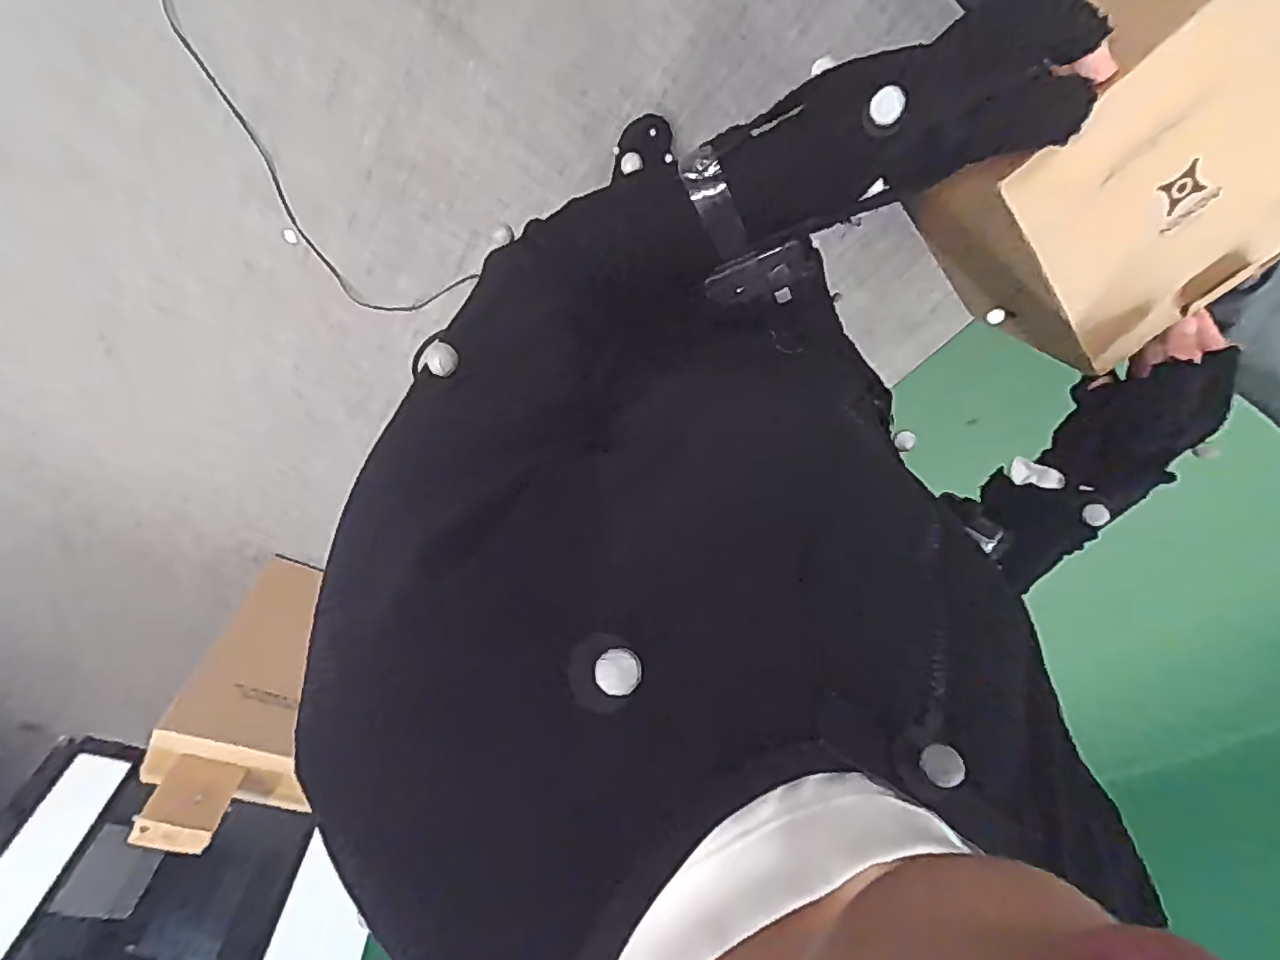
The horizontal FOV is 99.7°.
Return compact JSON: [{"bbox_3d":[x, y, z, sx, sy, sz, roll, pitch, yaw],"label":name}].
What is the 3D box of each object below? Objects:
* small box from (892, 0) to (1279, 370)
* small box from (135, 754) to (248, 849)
[{"bbox_3d":[0.329,-0.220,0.399,0.179,0.176,0.168,39,111,-24],"label":"small box"},{"bbox_3d":[-1.239,0.891,1.504,0.179,0.176,0.168,29,119,-23],"label":"small box"}]
